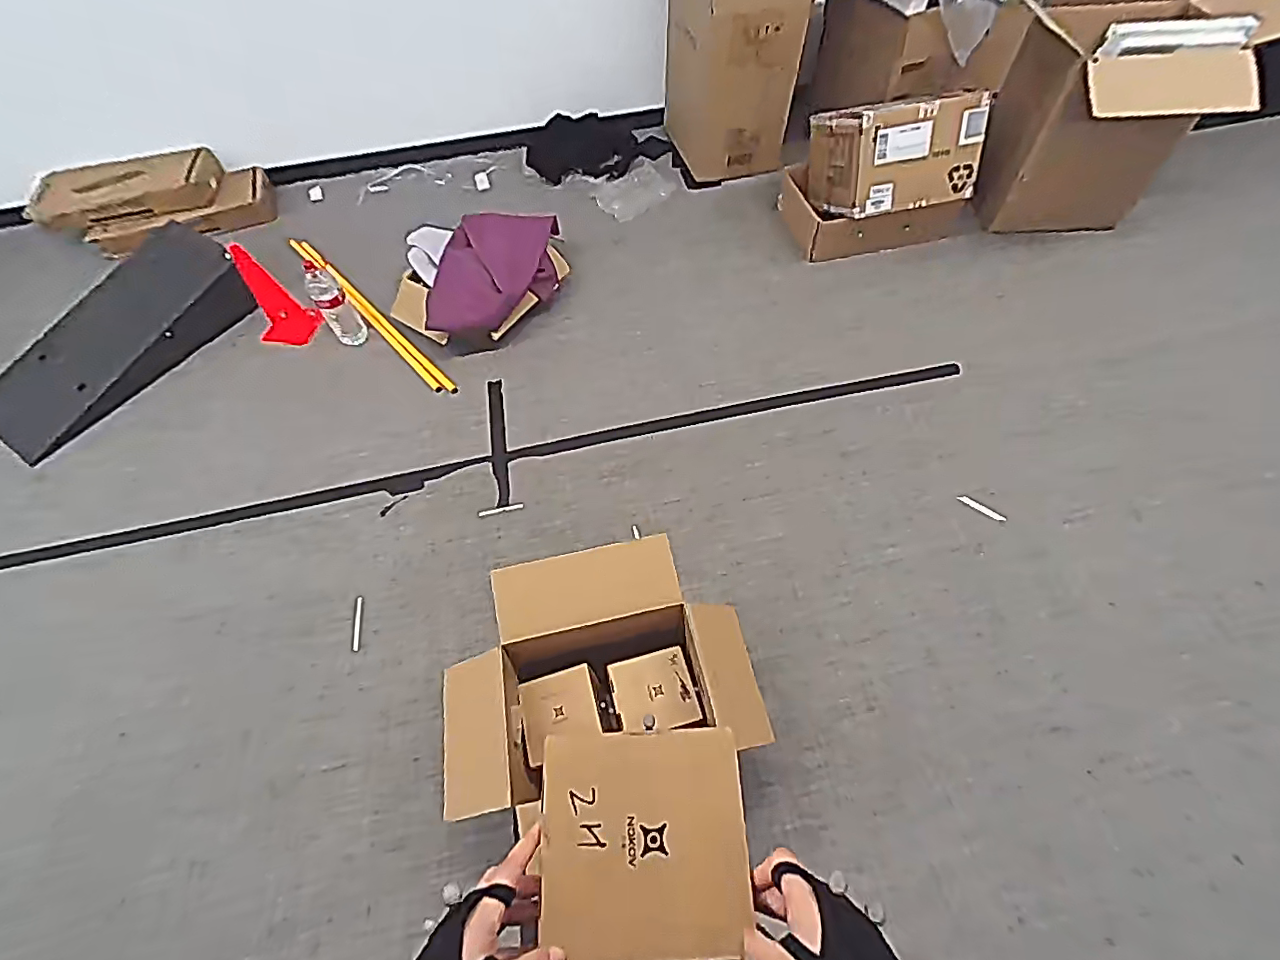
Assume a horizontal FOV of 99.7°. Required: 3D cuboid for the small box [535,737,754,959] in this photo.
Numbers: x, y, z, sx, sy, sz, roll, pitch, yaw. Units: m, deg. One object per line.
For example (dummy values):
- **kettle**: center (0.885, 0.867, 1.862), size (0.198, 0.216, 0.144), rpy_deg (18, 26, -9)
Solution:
- **small box**: center (-0.001, 0.344, 0.529), size (0.179, 0.176, 0.168), rpy_deg (-2, 63, -2)
